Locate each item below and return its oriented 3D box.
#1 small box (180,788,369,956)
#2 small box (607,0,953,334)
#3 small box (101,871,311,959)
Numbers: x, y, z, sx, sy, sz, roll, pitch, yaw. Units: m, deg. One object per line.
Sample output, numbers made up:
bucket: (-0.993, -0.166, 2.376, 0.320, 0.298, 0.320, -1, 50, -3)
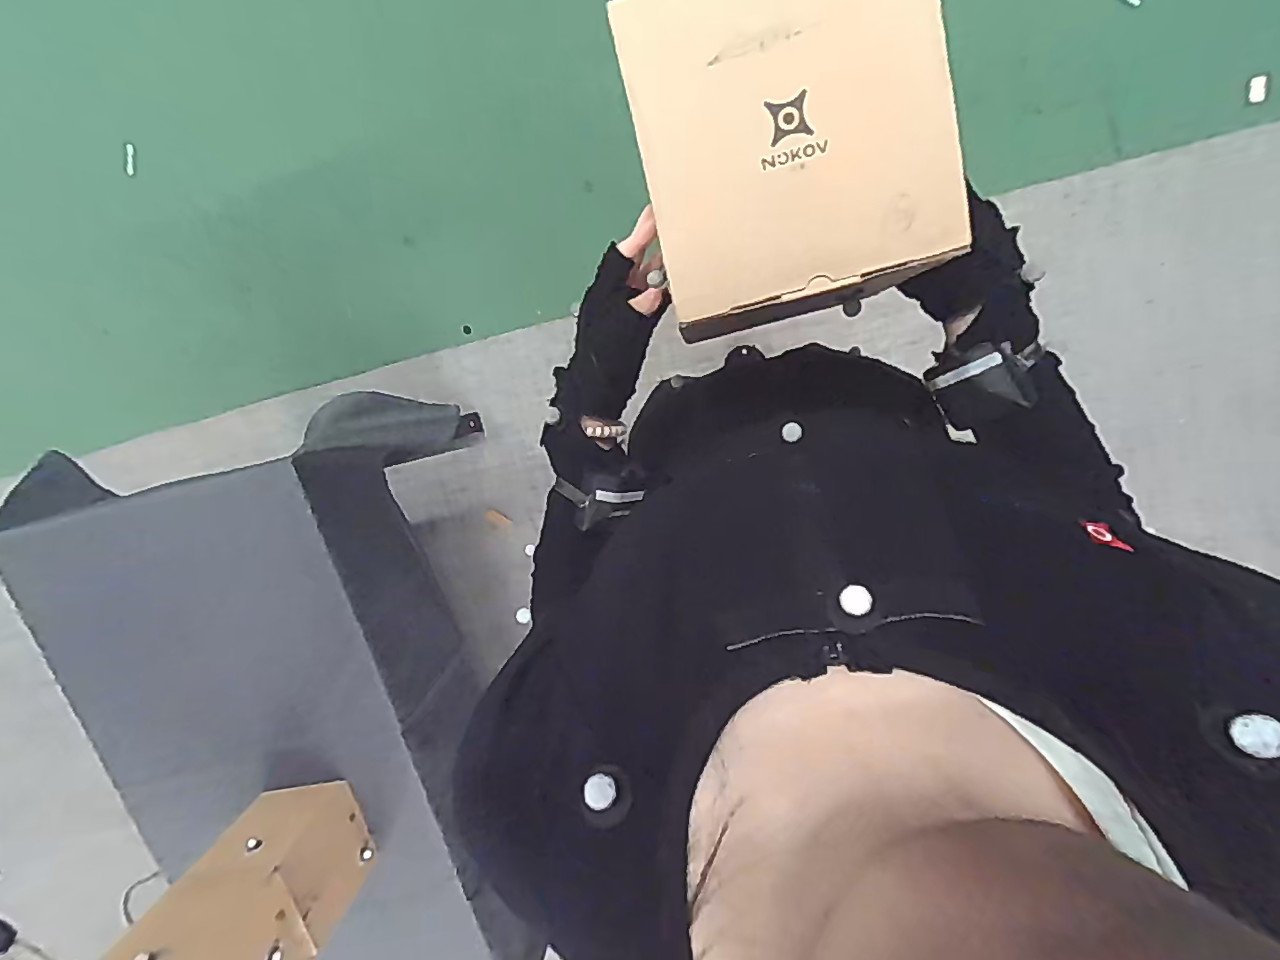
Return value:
small box: (-0.581, 0.639, 0.890, 0.179, 0.176, 0.168, -13, 101, 10)
small box: (0.088, -0.206, 0.378, 0.168, 0.176, 0.179, -12, 99, 8)
small box: (-0.599, 0.674, 0.733, 0.179, 0.176, 0.168, -13, 101, 9)
